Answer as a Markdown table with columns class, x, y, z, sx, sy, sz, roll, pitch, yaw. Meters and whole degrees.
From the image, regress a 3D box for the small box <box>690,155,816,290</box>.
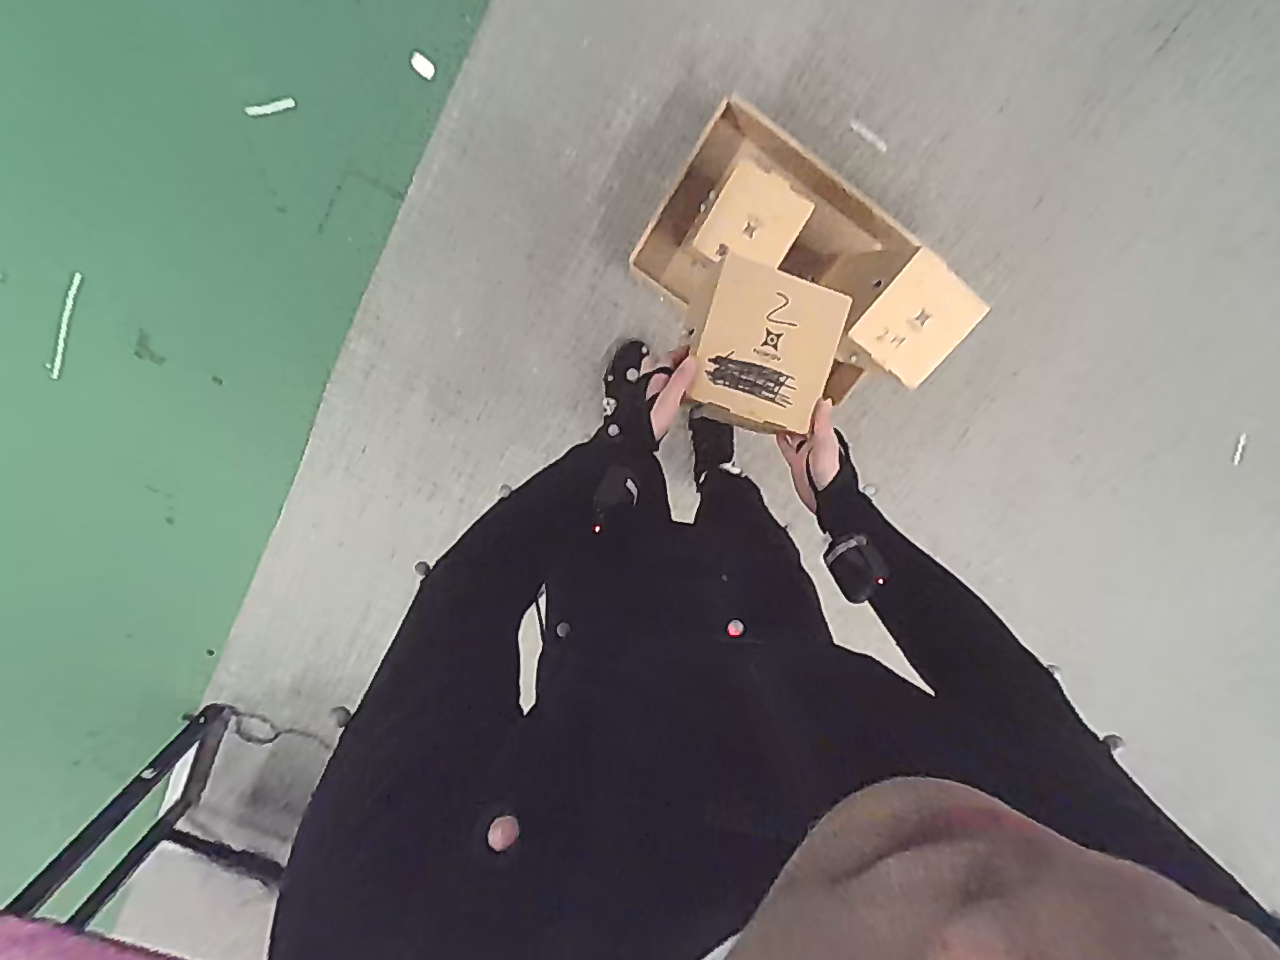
| class | x | y | z | sx | sy | sz | roll | pitch | yaw |
| --- | --- | --- | --- | --- | --- | --- | --- | --- | --- |
| small box | 0.211 | -0.500 | 1.077 | 0.168 | 0.176 | 0.179 | 29 | 107 | -9 |

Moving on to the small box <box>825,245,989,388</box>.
| class | x | y | z | sx | sy | sz | roll | pitch | yaw |
| --- | --- | --- | --- | --- | --- | --- | --- | --- | --- |
| small box | 0.468 | -0.298 | 0.980 | 0.168 | 0.176 | 0.179 | 35 | 108 | -12 |

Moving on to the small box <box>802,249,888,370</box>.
| class | x | y | z | sx | sy | sz | roll | pitch | yaw |
| --- | --- | --- | --- | --- | --- | --- | --- | --- | --- |
| small box | 0.469 | -0.359 | 1.134 | 0.168 | 0.176 | 0.179 | 35 | 108 | -13 |
